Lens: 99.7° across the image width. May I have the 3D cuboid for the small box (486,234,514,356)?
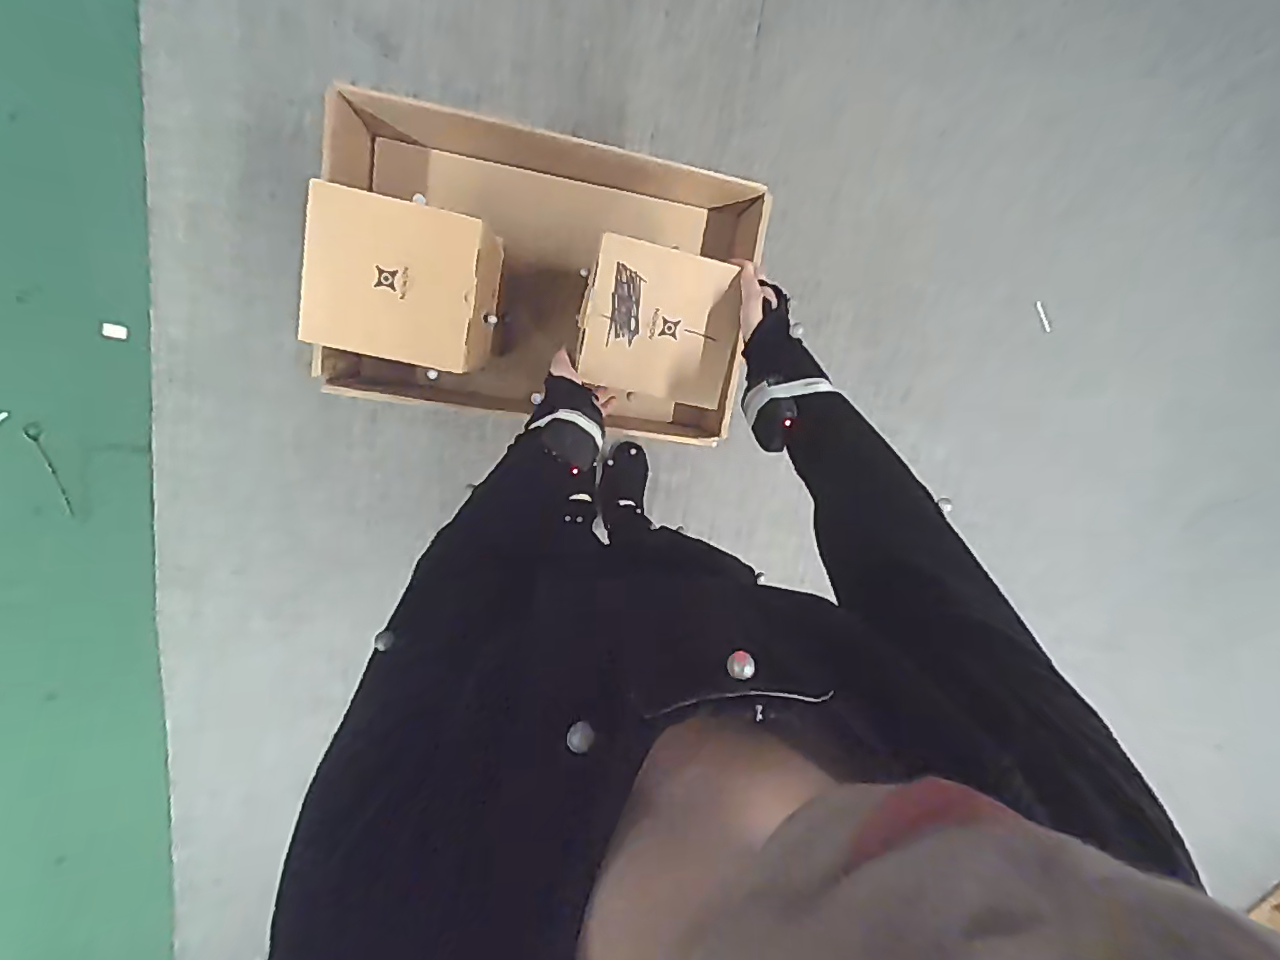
[{"bbox_3d":[-0.295,-0.281,0.809,0.179,0.176,0.168,9,101,-10],"label":"small box"}]

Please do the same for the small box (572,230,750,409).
[{"bbox_3d":[0.013,-0.199,0.690,0.179,0.176,0.168,11,105,-12],"label":"small box"}]

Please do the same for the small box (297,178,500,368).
[{"bbox_3d":[-0.277,-0.232,0.655,0.179,0.176,0.168,9,101,-11],"label":"small box"}]
